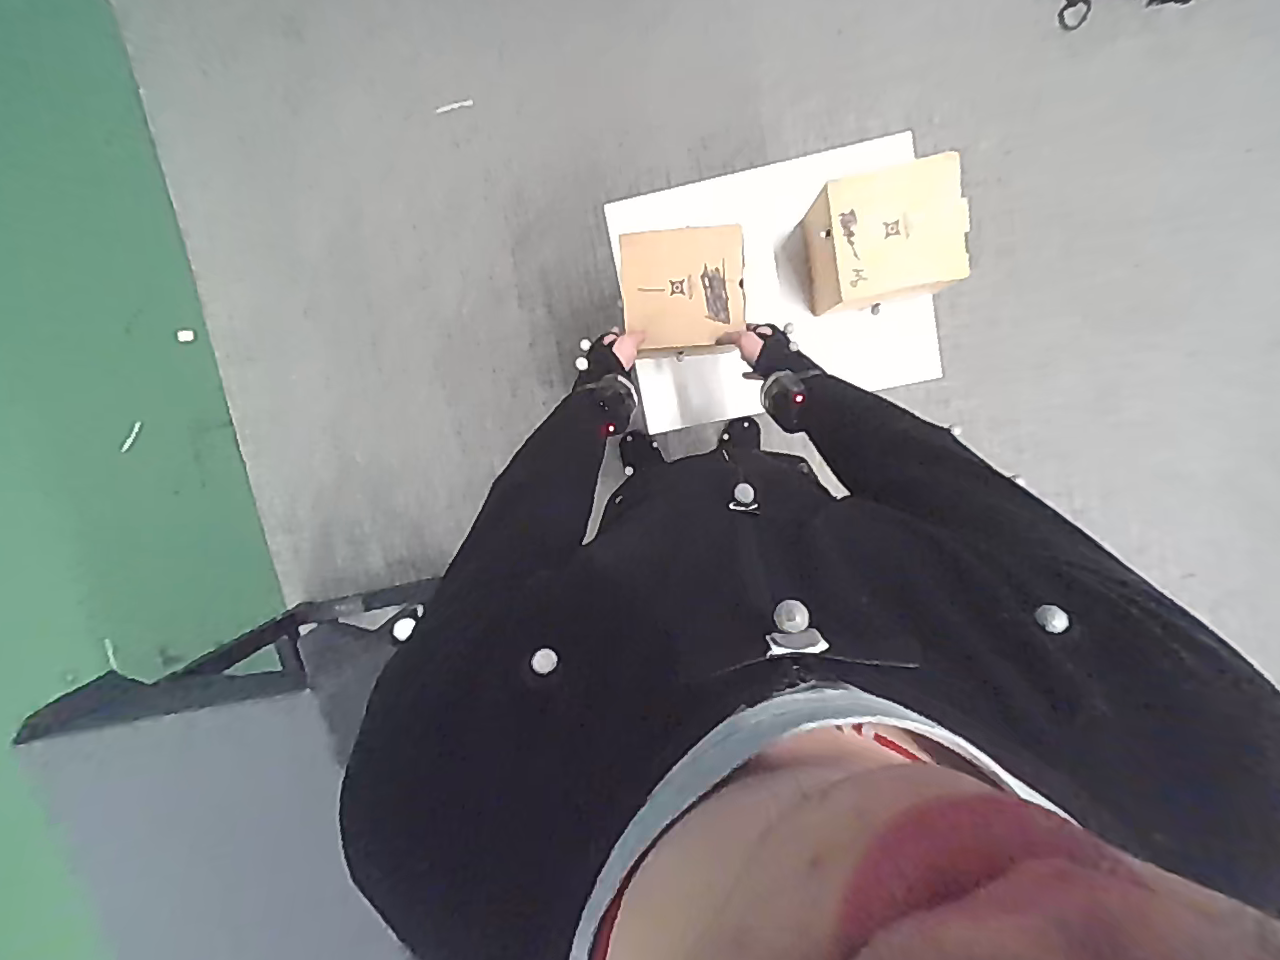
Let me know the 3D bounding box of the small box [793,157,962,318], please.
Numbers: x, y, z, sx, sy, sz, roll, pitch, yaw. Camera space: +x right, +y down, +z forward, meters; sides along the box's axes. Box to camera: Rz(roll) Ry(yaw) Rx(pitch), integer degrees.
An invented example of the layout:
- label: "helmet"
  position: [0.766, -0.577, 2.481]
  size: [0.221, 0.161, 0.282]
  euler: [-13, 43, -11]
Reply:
- label: "small box"
  position: [0.345, -0.350, 0.811]
  size: [0.179, 0.176, 0.168]
  euler: [-9, 98, 3]

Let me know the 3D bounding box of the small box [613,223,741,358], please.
- label: "small box"
  position: [0.053, -0.281, 0.830]
  size: [0.179, 0.176, 0.168]
  euler: [-3, 98, 2]
